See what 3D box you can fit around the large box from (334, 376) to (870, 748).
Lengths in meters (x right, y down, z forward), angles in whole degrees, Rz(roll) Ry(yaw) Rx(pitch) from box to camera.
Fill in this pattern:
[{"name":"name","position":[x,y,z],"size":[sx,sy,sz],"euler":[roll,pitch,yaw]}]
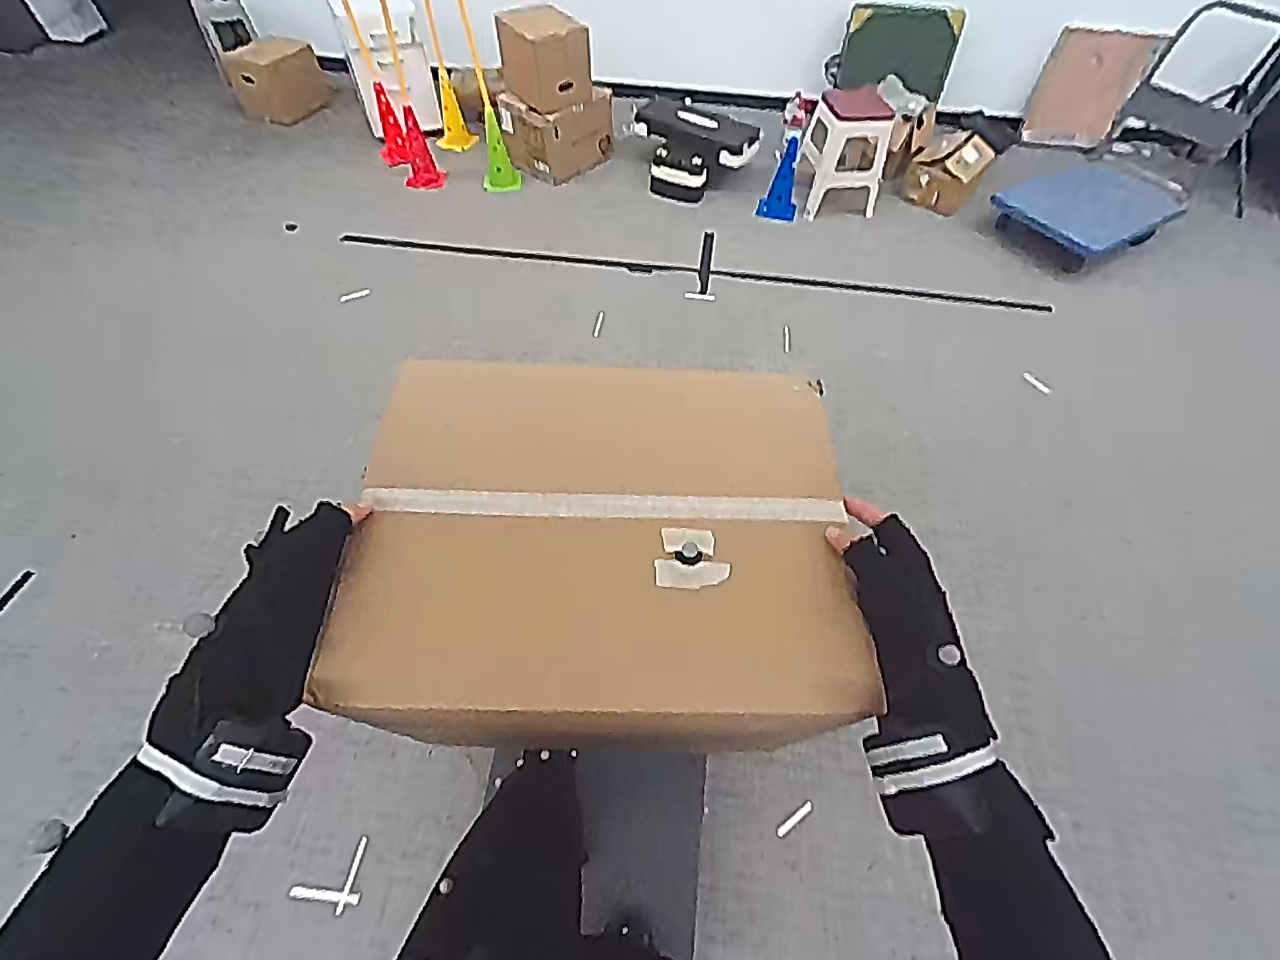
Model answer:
[{"name":"large box","position":[-0.033,0.108,0.598],"size":[0.408,0.320,0.320],"euler":[2,59,-2]}]
